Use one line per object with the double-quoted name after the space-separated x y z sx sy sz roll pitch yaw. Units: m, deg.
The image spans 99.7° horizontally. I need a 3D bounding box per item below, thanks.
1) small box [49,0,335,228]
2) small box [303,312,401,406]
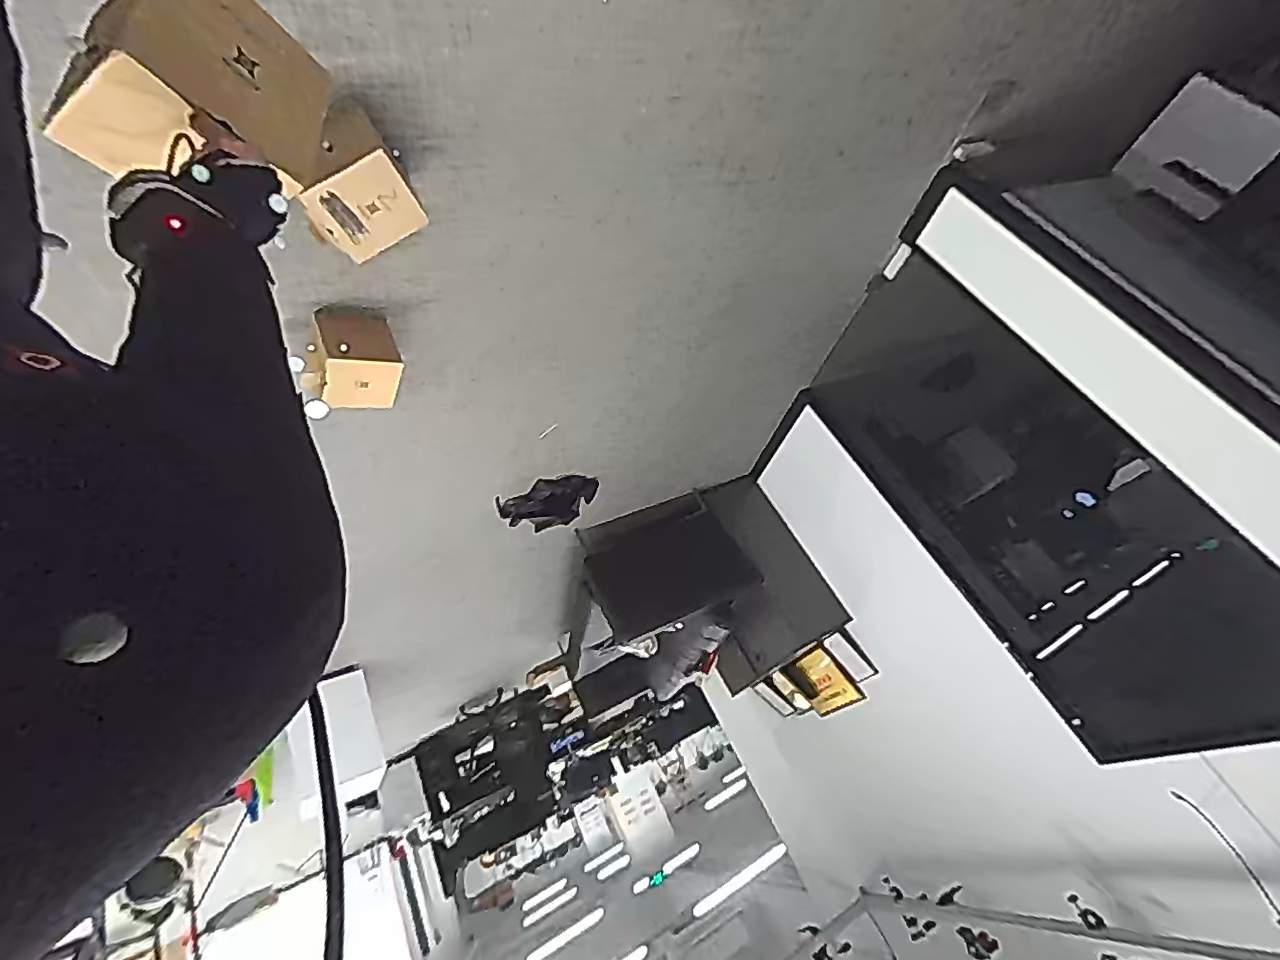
-0.470 -0.408 0.578 0.176 0.179 0.168 -8 160 26 "small box"
-0.739 -0.307 1.381 0.179 0.176 0.168 -6 147 -41 "small box"
